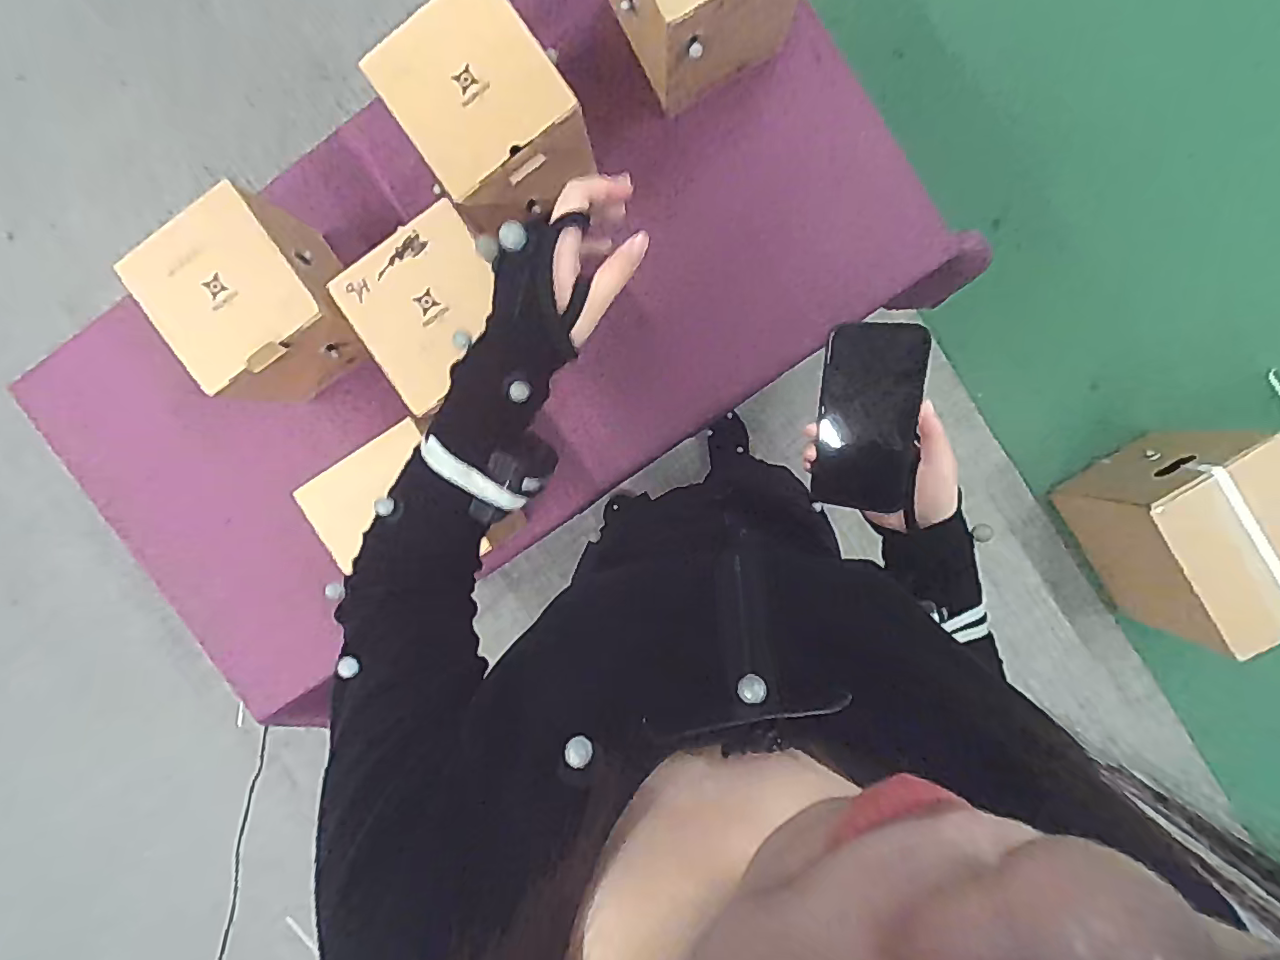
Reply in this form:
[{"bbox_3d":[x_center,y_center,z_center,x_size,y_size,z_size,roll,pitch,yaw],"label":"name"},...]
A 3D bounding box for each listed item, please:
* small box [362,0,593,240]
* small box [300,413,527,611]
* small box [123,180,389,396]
[{"bbox_3d":[-0.175,-0.424,0.641,0.168,0.176,0.179,-36,94,6],"label":"small box"},{"bbox_3d":[-0.272,0.032,0.691,0.168,0.176,0.179,-31,93,6],"label":"small box"},{"bbox_3d":[-0.456,-0.220,0.676,0.168,0.176,0.179,-34,93,5],"label":"small box"}]
